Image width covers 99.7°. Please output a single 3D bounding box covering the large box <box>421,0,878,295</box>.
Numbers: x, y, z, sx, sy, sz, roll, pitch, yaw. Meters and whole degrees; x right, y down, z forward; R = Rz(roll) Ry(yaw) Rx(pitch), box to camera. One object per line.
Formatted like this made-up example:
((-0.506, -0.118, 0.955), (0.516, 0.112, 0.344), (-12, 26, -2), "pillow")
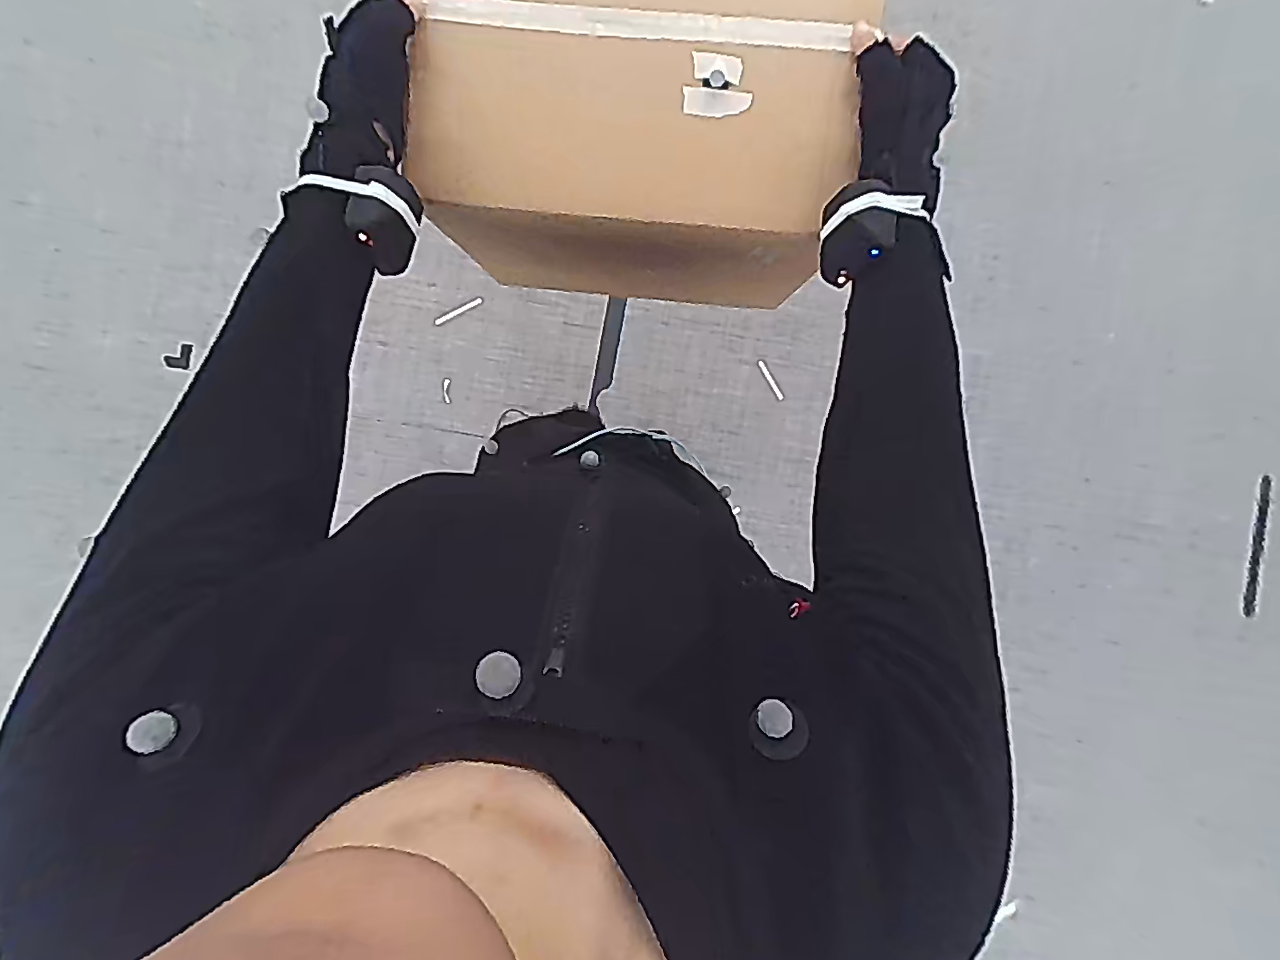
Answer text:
((0.007, -0.413, 0.621), (0.408, 0.320, 0.320), (4, 97, 0), "large box")
